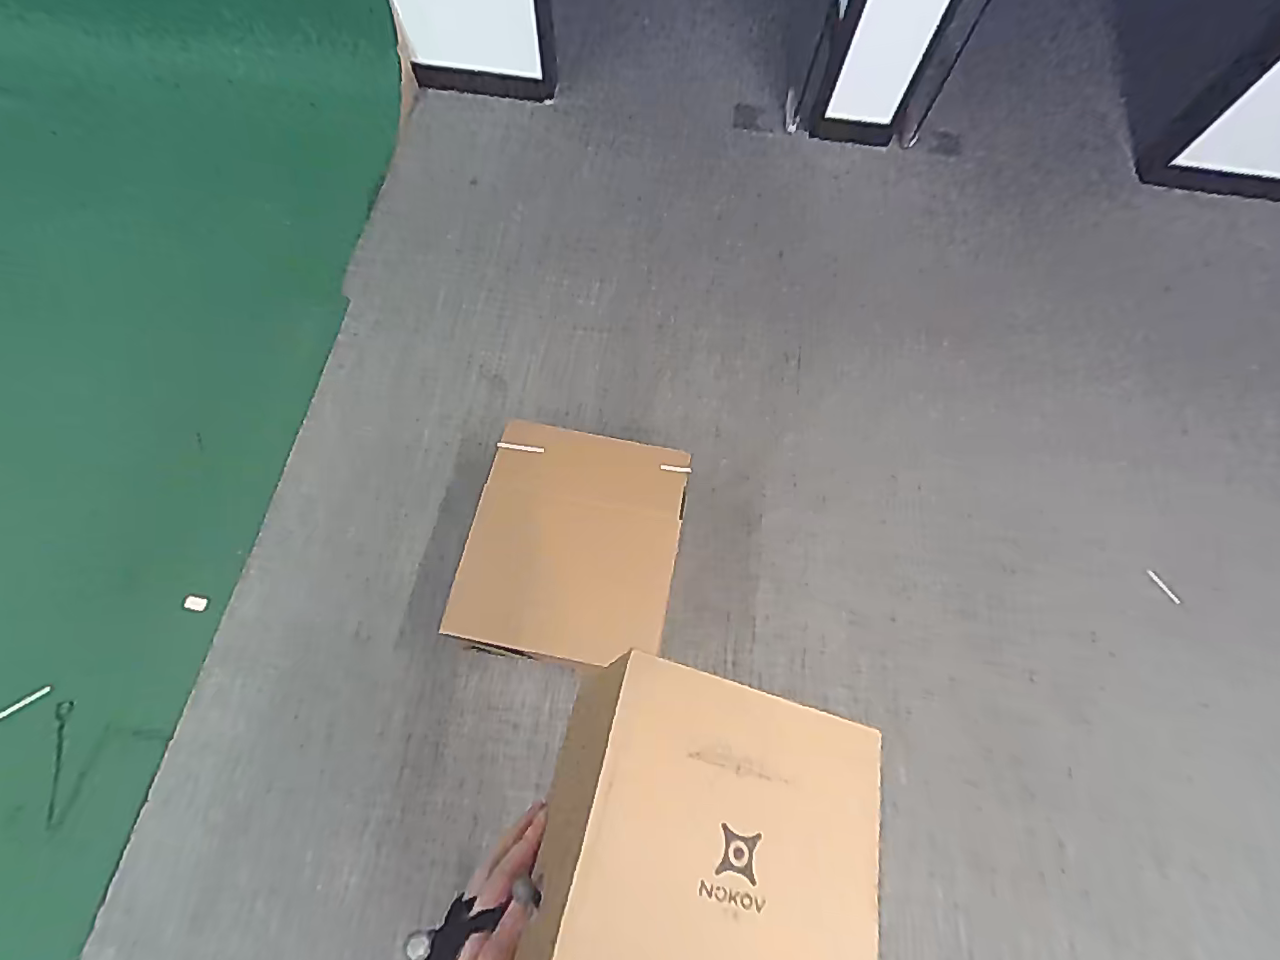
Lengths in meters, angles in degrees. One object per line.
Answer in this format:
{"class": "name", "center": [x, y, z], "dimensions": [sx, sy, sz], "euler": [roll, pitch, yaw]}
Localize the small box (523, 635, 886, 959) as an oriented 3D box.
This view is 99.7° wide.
{"class": "small box", "center": [0.031, 0.224, 0.348], "dimensions": [0.168, 0.176, 0.179], "euler": [21, 59, -7]}
